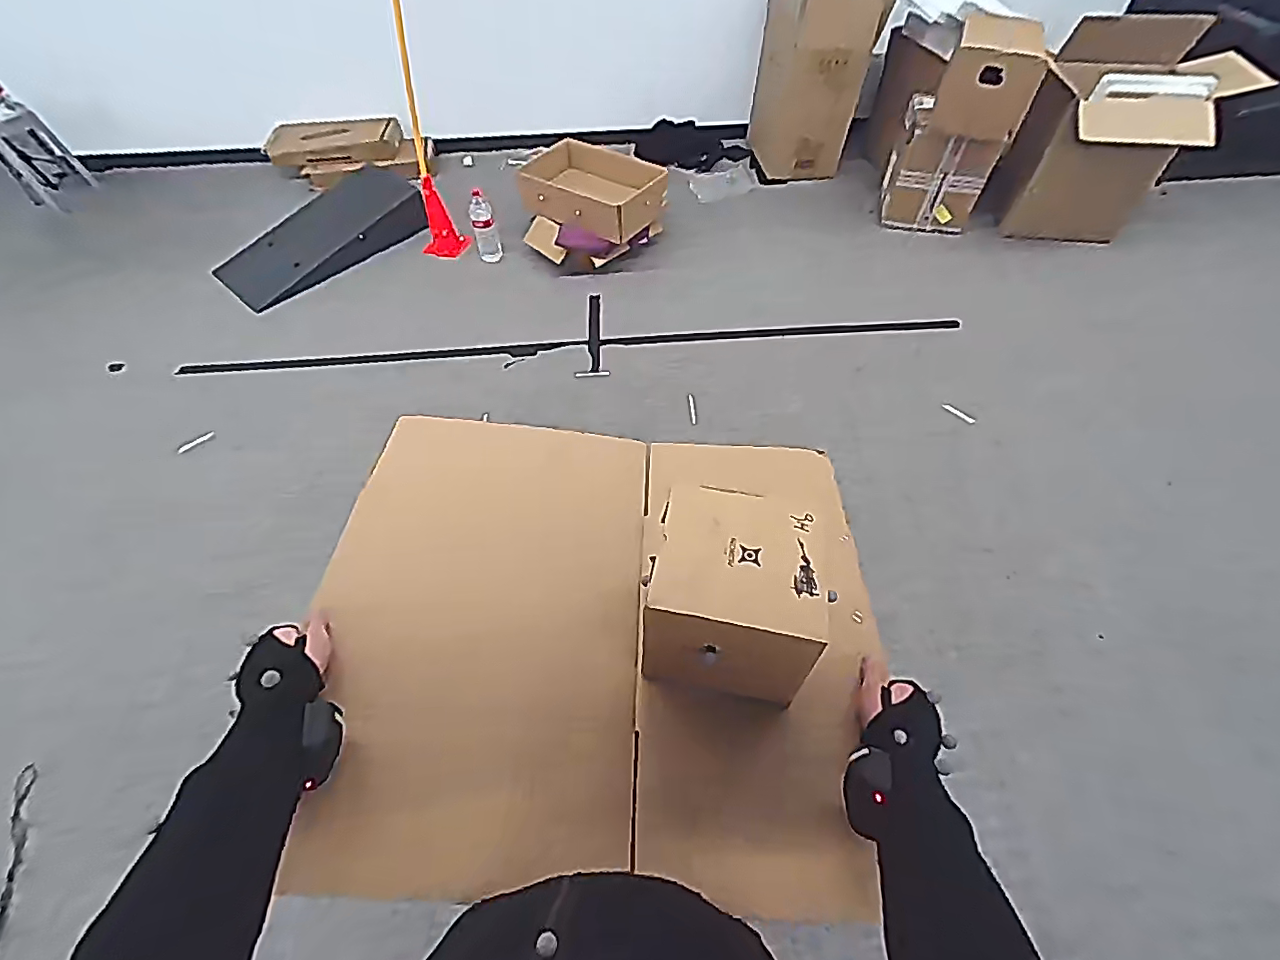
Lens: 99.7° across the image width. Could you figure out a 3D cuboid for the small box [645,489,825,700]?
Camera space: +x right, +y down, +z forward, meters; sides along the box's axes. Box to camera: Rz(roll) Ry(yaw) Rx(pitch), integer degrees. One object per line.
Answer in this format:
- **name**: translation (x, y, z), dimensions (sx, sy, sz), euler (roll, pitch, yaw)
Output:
- **small box**: translation (0.107, 0.135, 0.627), dimensions (0.179, 0.176, 0.168), euler (9, 49, 8)
